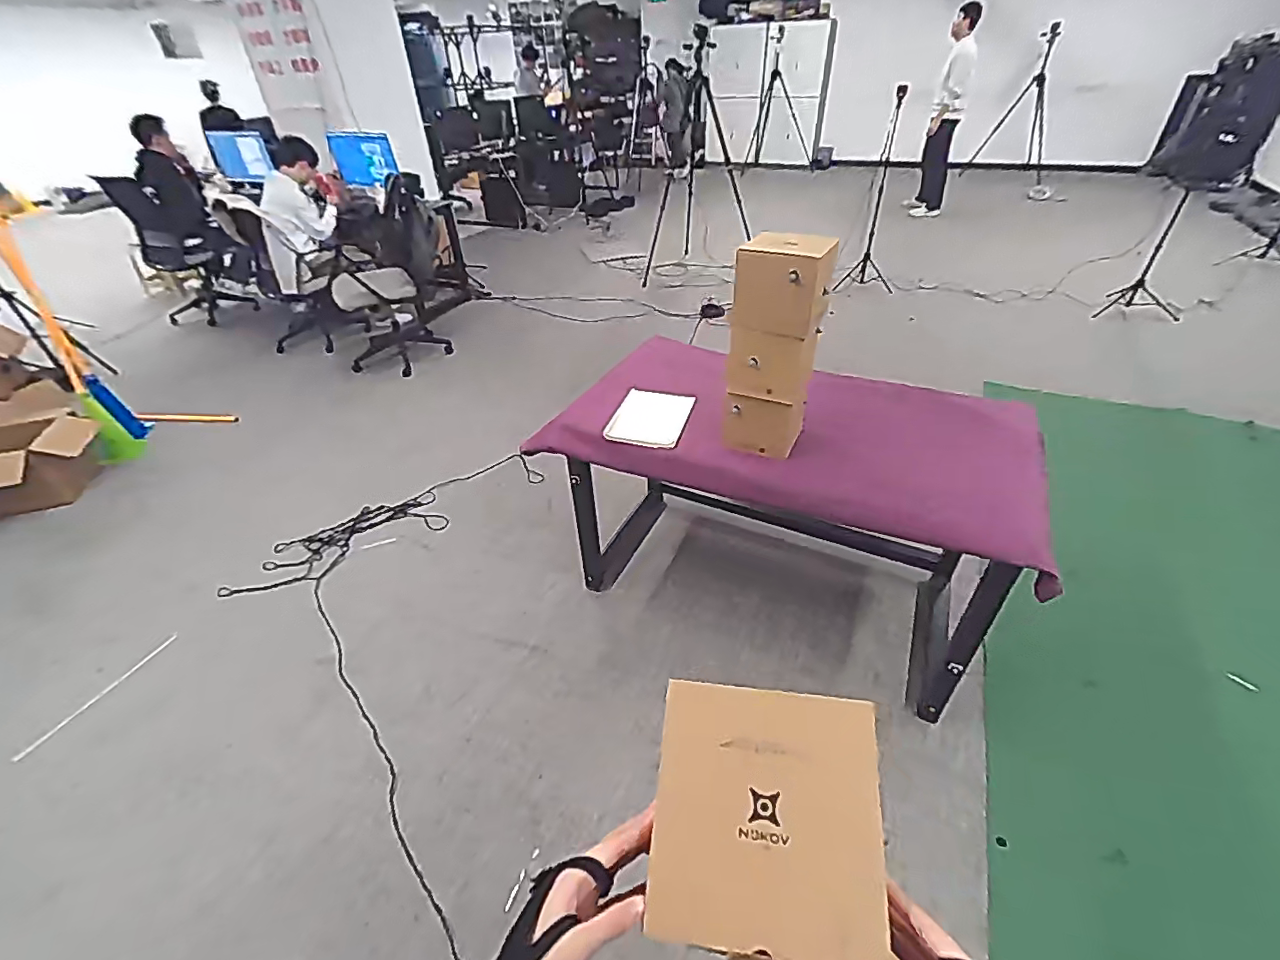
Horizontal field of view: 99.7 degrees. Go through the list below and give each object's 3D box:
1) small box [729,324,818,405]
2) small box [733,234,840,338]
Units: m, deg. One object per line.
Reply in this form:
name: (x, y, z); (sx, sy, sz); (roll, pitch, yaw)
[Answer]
small box: (0.317, -0.298, 1.289); (0.168, 0.176, 0.179); (16, 40, 23)
small box: (0.316, -0.424, 1.182); (0.179, 0.176, 0.168); (18, 40, 24)
